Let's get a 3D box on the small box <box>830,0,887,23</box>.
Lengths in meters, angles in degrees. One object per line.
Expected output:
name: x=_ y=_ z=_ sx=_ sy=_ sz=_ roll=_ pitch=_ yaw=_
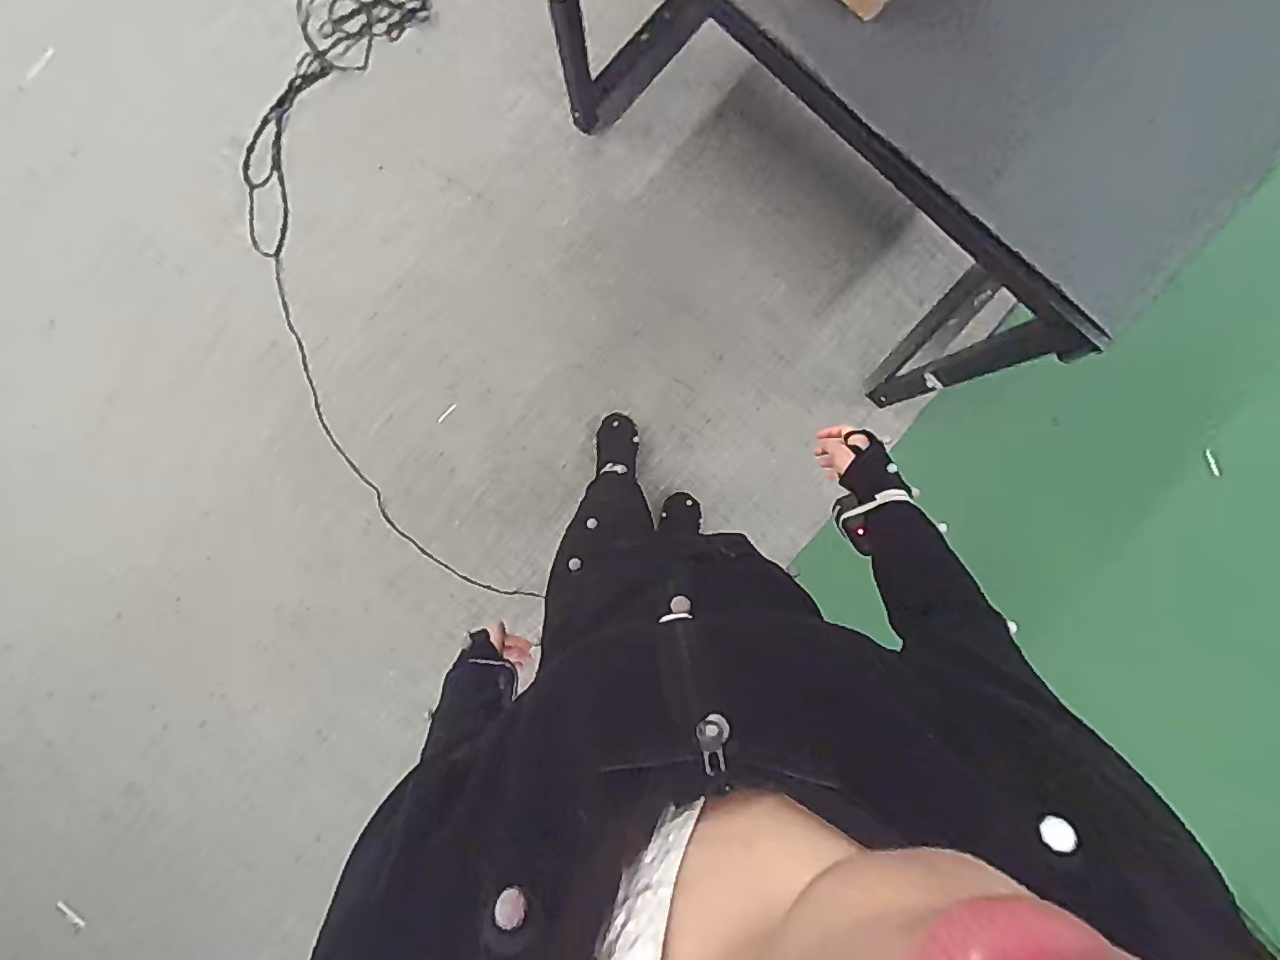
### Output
small box: x=0.316 y=-0.766 z=0.696 sx=0.168 sy=0.176 sz=0.179 roll=41 pitch=90 yaw=1
